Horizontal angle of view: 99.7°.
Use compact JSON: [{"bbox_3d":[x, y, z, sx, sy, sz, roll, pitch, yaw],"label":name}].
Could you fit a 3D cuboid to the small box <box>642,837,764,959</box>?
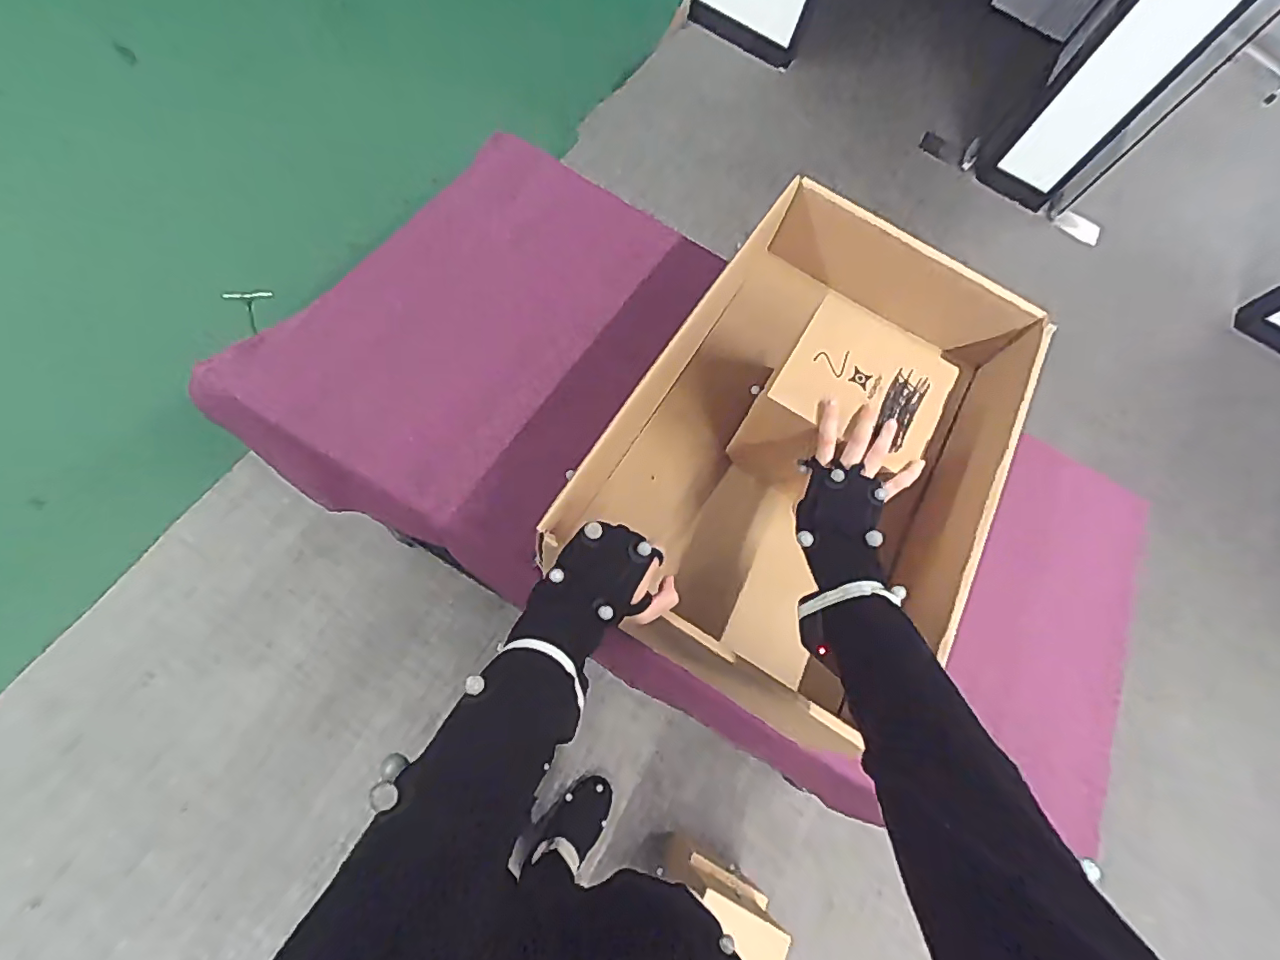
[{"bbox_3d":[0.124,0.878,1.120,0.179,0.176,0.168,30,67,3],"label":"small box"}]
